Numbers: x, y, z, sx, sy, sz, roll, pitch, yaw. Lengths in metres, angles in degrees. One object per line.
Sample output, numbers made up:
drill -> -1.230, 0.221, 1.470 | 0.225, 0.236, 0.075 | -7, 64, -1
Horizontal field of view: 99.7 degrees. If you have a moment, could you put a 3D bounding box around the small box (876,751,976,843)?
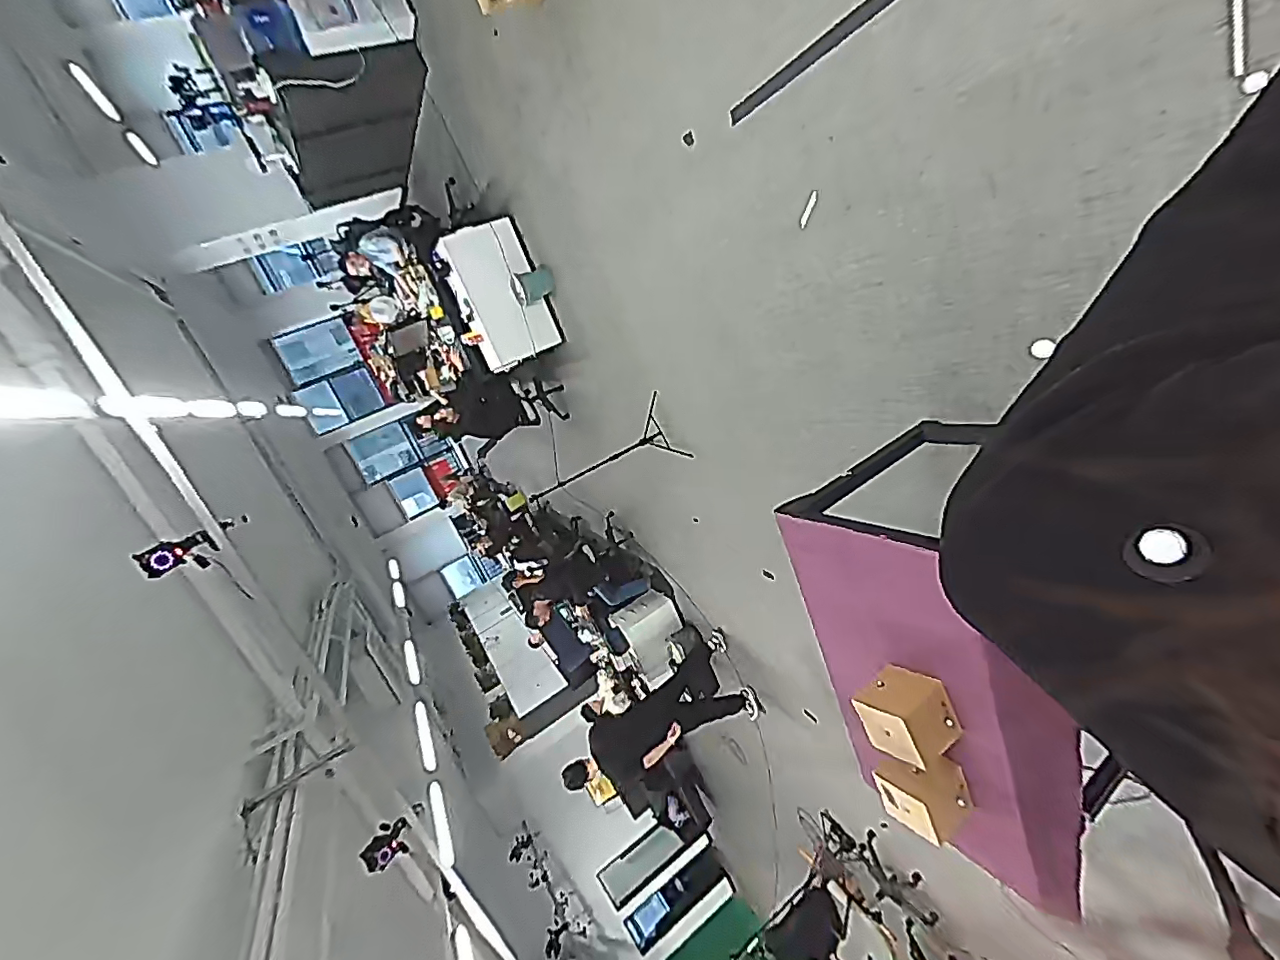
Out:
small box -> 0.839, 0.899, 1.588 | 0.179, 0.176, 0.168 | 6, 123, 64

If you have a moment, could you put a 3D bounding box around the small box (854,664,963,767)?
small box -> 0.735, 0.632, 1.480 | 0.168, 0.176, 0.179 | 62, 159, -8
